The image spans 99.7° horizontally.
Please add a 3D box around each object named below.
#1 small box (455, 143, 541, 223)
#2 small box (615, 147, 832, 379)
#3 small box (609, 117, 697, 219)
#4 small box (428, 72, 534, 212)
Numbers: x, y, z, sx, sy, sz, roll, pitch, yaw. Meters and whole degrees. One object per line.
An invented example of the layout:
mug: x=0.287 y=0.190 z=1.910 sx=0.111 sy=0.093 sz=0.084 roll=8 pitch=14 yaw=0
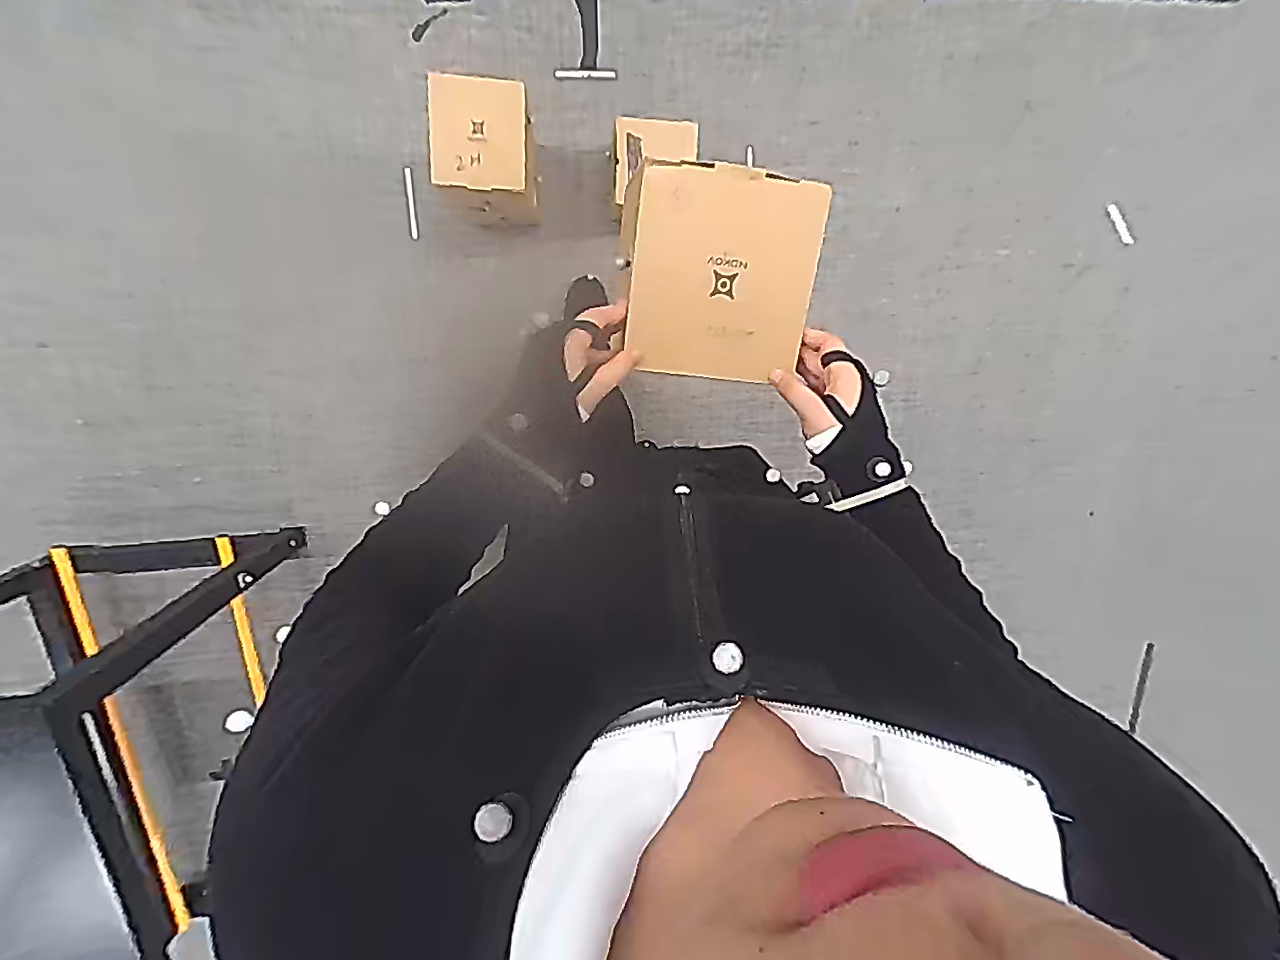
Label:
small box: x=-0.311 y=-0.666 z=1.181 sx=0.168 sy=0.176 sz=0.179 roll=-4 pitch=107 yaw=-5
small box: x=0.066 y=-0.211 z=0.552 sx=0.168 sy=0.176 sz=0.179 roll=4 pitch=110 yaw=-8
small box: x=0.022 y=-0.686 z=1.213 sx=0.179 sy=0.176 sz=0.168 roll=-1 pitch=106 yaw=-7
small box: x=-0.292 y=-0.625 z=1.021 sx=0.168 sy=0.176 sz=0.179 roll=2 pitch=106 yaw=-6
